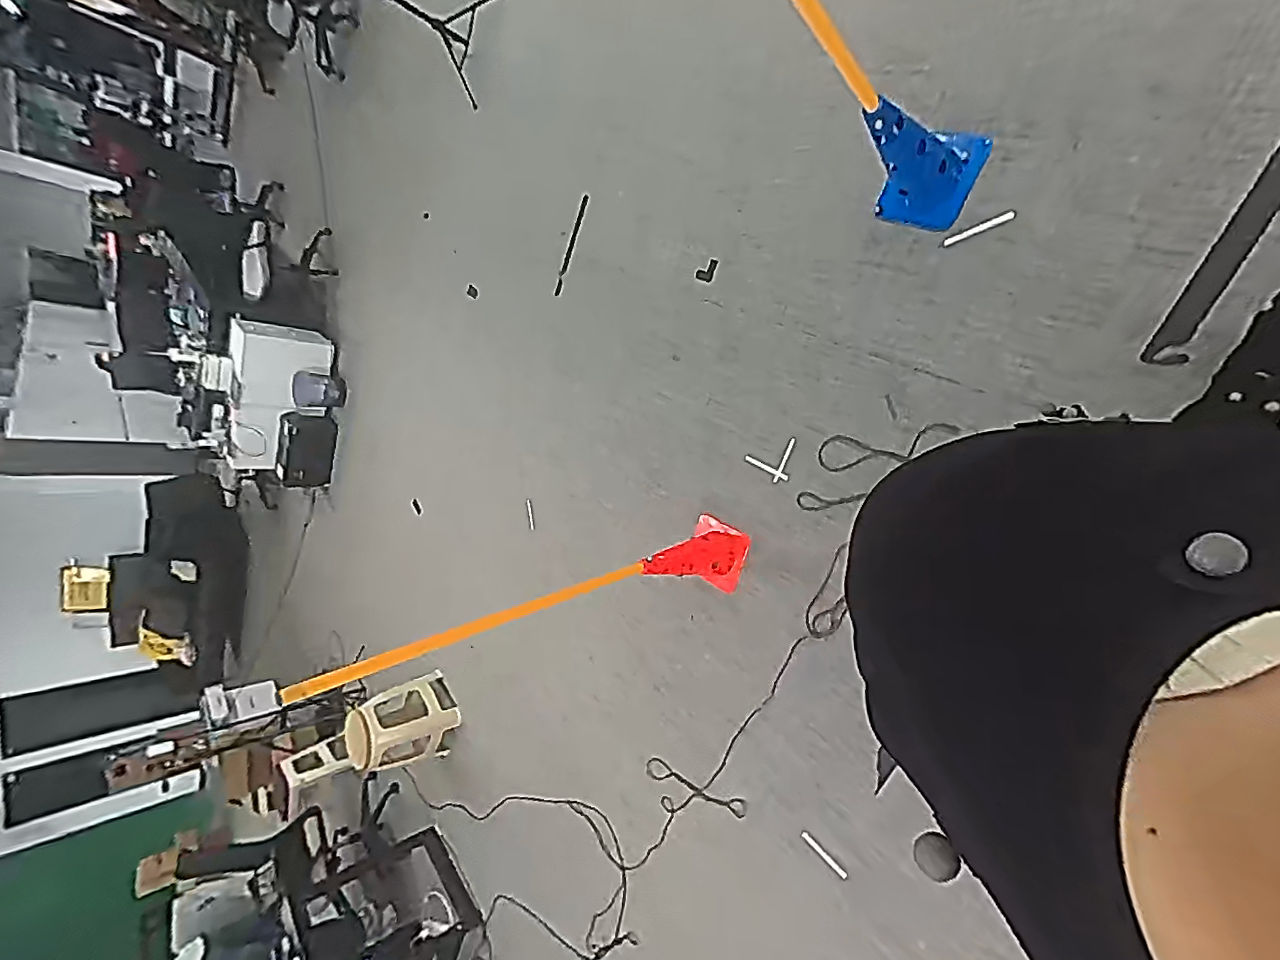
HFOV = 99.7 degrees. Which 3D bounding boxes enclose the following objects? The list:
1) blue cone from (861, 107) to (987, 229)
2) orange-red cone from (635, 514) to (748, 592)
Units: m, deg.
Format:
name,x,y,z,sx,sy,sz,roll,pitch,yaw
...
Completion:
name,x,y,z,sx,sy,sz,roll,pitch,yaw
blue cone,0.565,-0.696,1.146,0.193,0.380,0.192,39,117,37
orange-red cone,0.121,0.230,1.567,0.199,0.360,0.198,29,111,38
